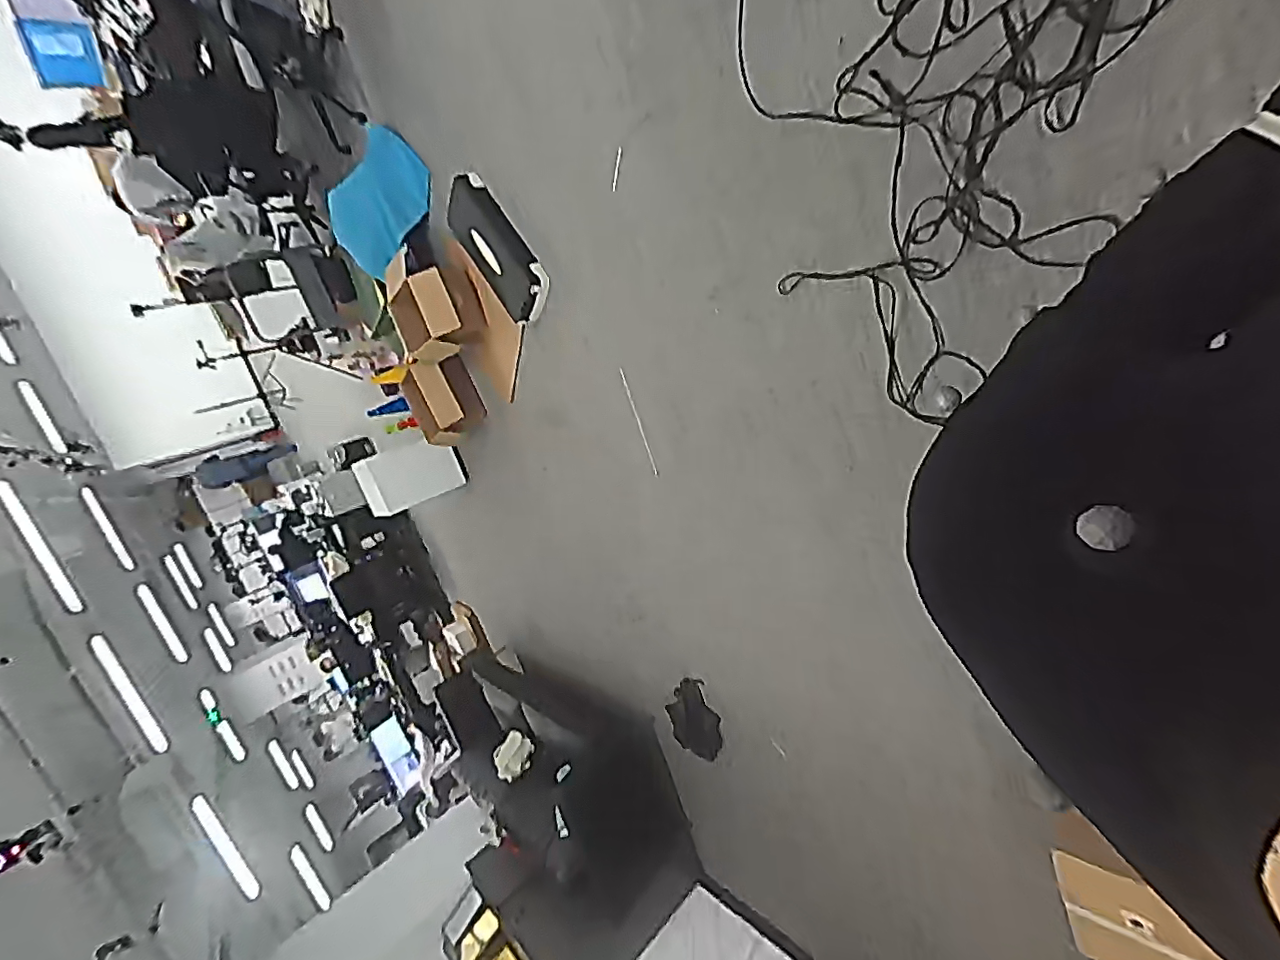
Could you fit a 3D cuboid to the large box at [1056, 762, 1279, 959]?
[{"bbox_3d":[1.224,0.905,1.180,0.408,0.320,0.320,-5,108,54],"label":"large box"}]
